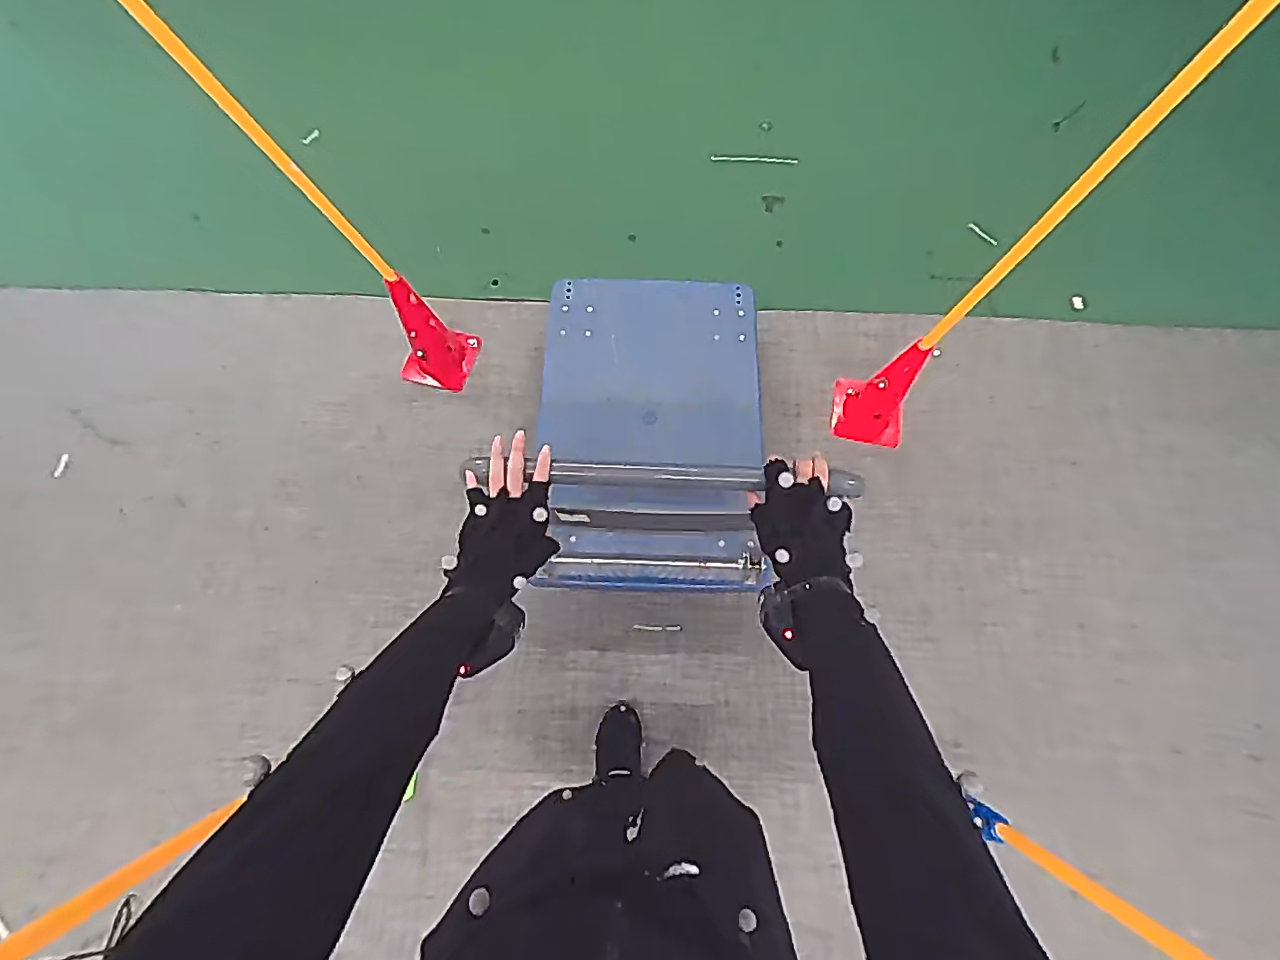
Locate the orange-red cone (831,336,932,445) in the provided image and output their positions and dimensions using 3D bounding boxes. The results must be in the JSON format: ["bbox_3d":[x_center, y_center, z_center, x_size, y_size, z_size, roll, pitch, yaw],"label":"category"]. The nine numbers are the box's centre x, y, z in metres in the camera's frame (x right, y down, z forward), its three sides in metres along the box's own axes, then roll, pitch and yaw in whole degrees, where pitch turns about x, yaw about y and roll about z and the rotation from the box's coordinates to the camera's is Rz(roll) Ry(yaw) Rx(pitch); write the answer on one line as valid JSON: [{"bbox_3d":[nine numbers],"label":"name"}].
[{"bbox_3d":[0.667,-0.261,1.427,0.198,0.360,0.199,12,71,5],"label":"orange-red cone"}]
